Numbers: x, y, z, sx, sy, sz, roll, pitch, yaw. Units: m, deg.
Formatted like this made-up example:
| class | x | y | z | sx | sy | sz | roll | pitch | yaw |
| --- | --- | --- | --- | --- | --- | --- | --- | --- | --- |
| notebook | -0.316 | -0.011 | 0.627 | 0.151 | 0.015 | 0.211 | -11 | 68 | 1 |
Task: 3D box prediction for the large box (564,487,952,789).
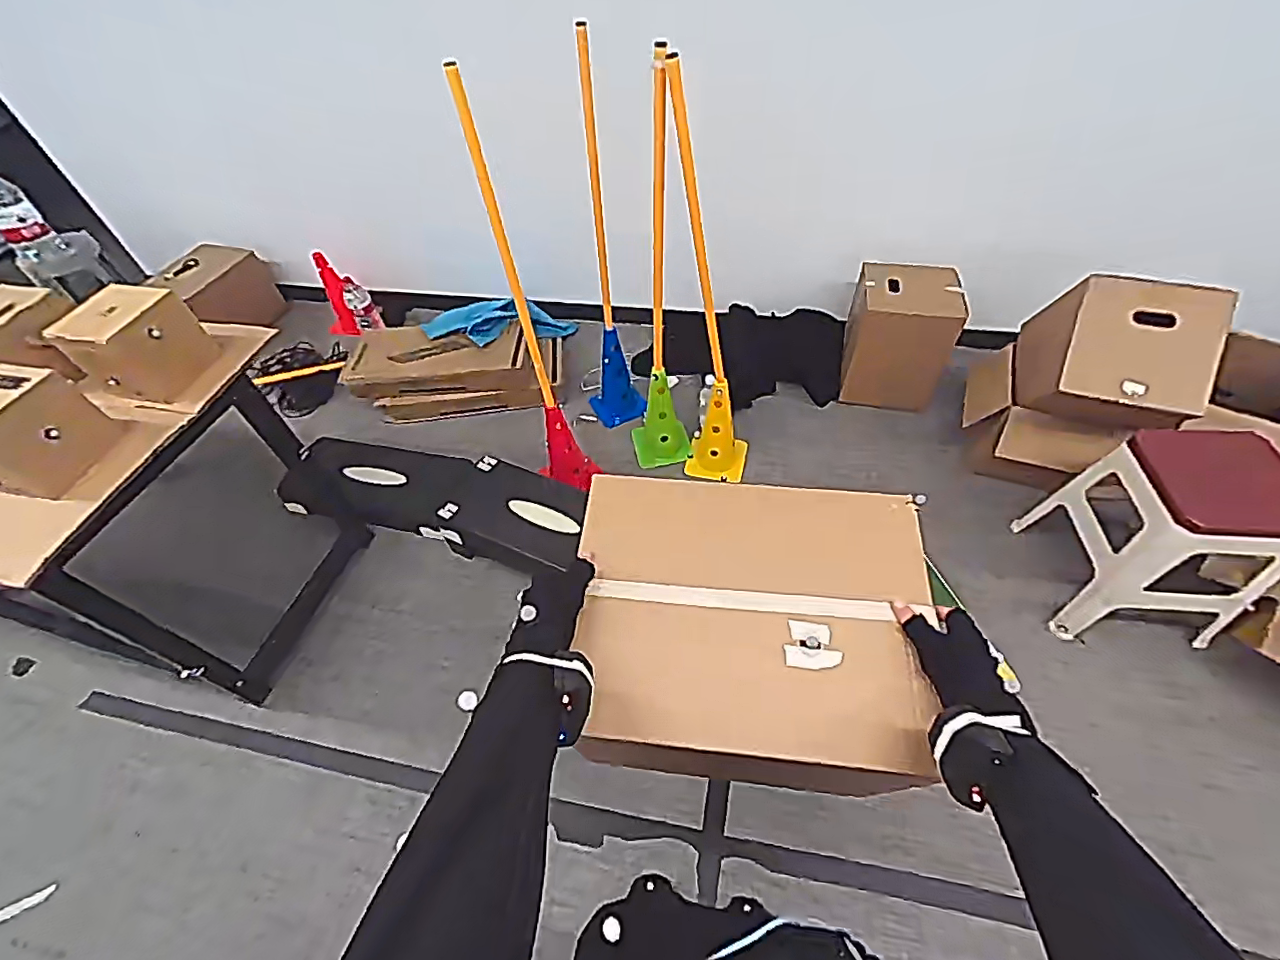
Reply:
| class | x | y | z | sx | sy | sz | roll | pitch | yaw |
| --- | --- | --- | --- | --- | --- | --- | --- | --- | --- |
| large box | 0.133 | 0.229 | 0.755 | 0.408 | 0.320 | 0.320 | 4 | 58 | 5 |
